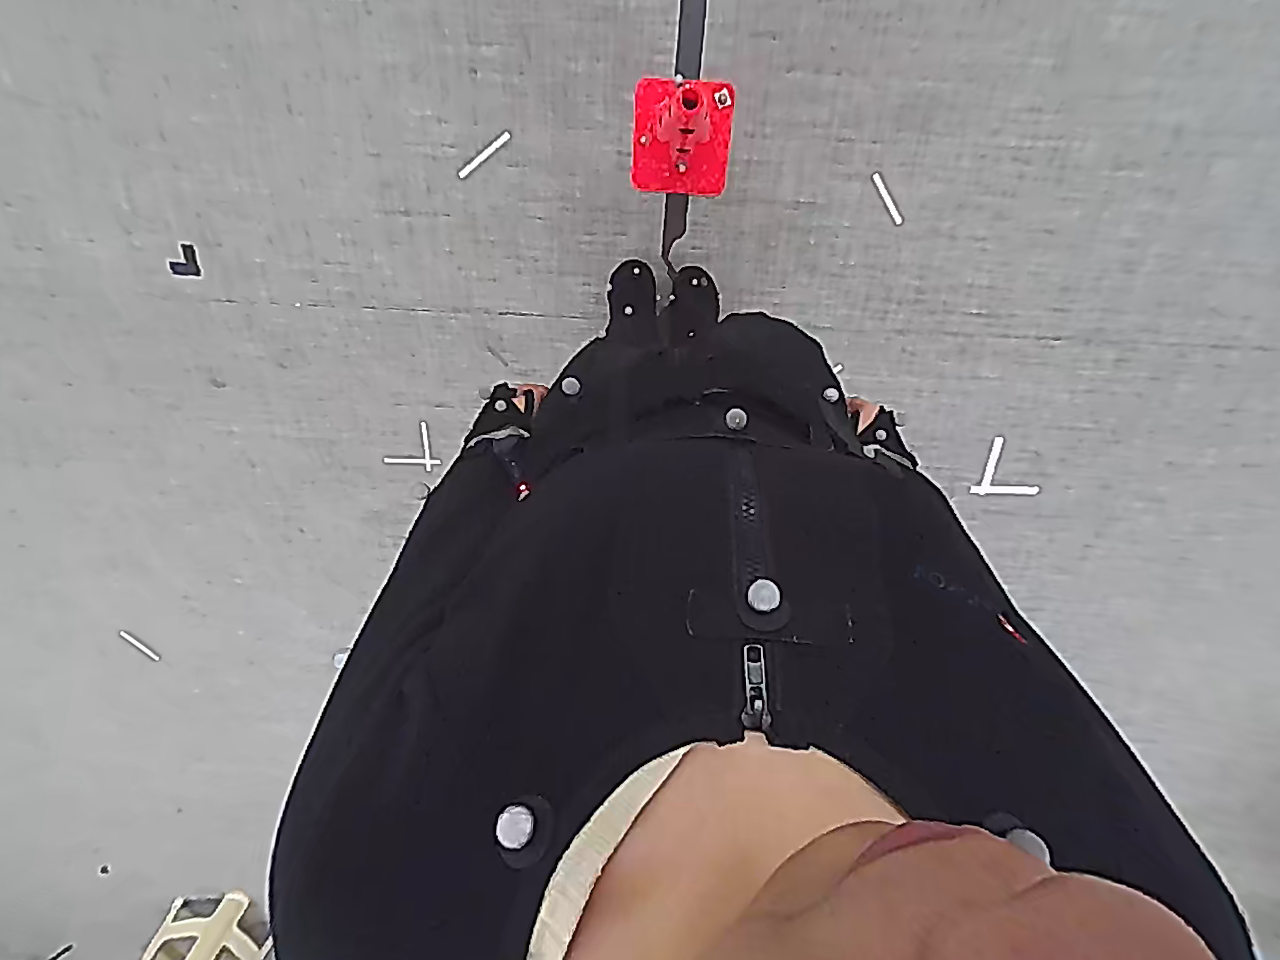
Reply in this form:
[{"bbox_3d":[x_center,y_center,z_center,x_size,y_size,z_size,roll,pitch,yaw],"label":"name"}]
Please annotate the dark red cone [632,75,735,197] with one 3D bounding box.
[{"bbox_3d":[0.076,-0.616,0.934,0.201,0.394,0.202,4,115,2],"label":"dark red cone"}]
